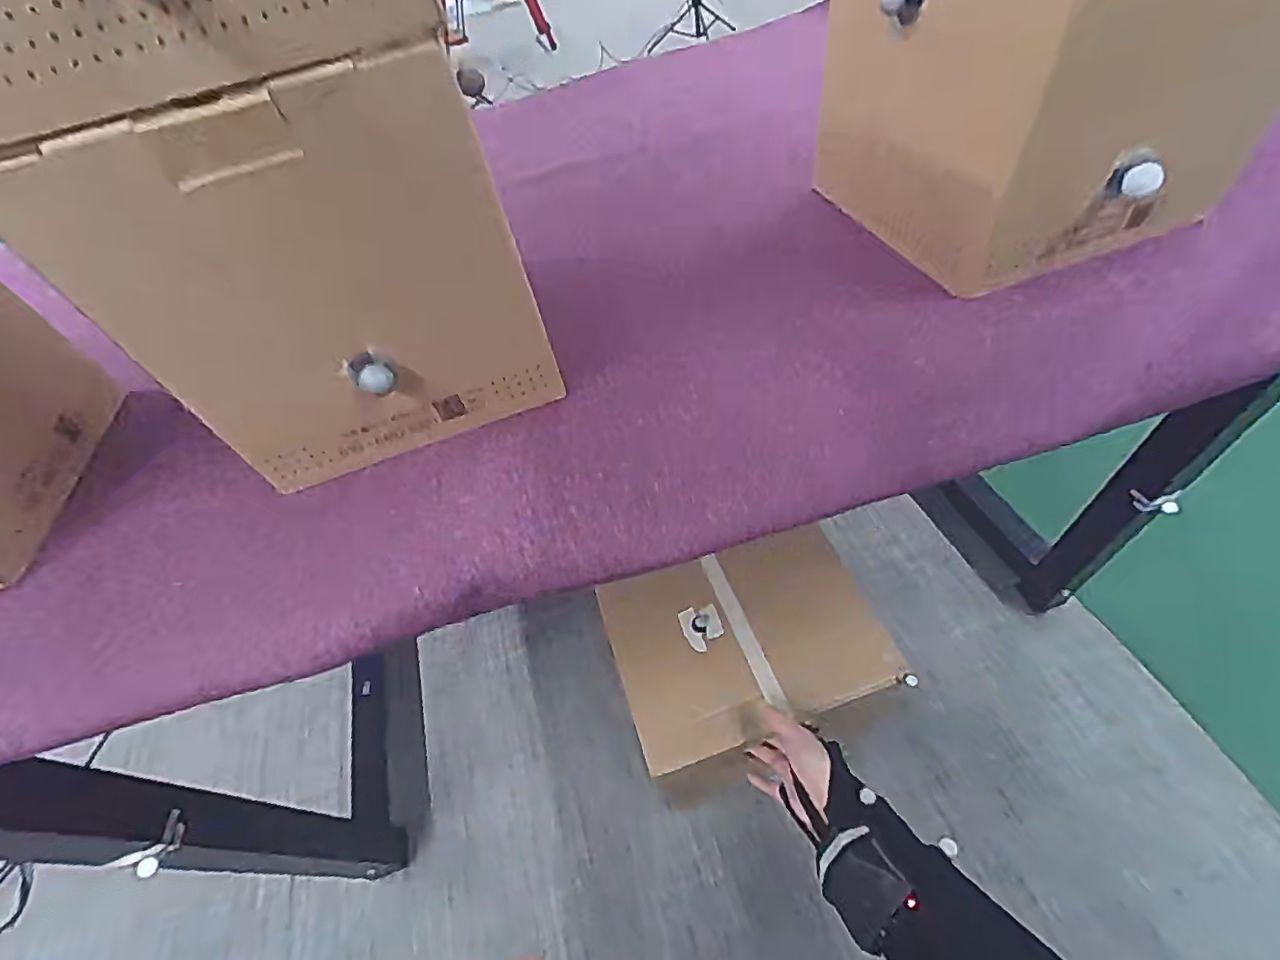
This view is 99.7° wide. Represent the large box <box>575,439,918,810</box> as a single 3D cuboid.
[{"bbox_3d":[0.125,0.214,0.823,0.320,0.320,0.408,-20,52,-4],"label":"large box"}]

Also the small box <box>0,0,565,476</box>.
[{"bbox_3d":[-0.154,-0.134,0.296,0.168,0.176,0.179,-21,51,-5],"label":"small box"}]
